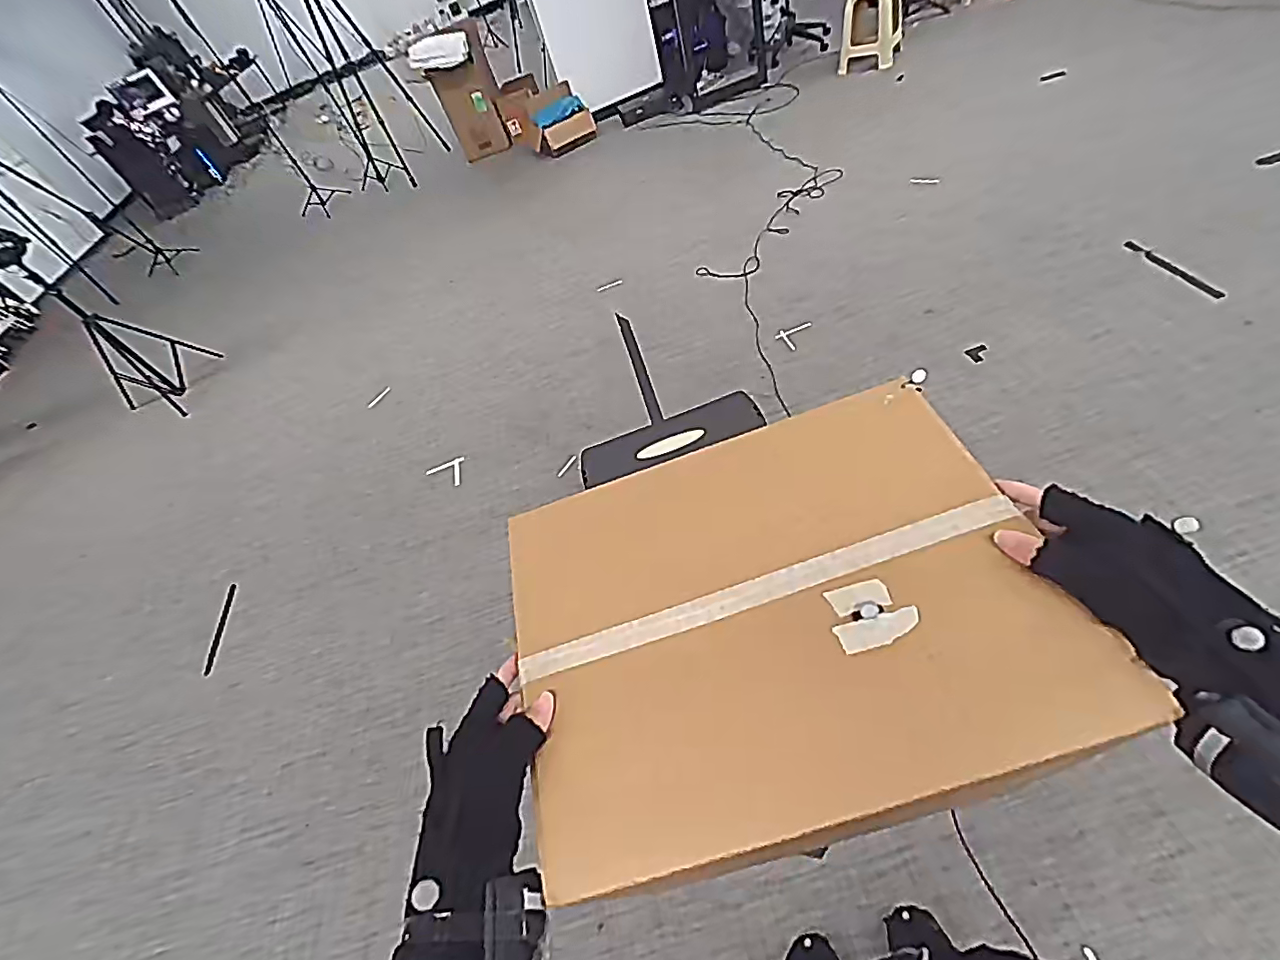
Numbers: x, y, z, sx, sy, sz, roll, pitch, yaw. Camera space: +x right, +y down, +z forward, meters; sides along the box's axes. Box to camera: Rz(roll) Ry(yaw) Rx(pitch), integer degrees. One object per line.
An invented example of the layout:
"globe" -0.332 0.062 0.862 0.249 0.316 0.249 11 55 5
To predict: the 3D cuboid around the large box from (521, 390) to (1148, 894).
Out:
"large box" 0.136 0.178 0.555 0.408 0.320 0.320 -20 52 3
